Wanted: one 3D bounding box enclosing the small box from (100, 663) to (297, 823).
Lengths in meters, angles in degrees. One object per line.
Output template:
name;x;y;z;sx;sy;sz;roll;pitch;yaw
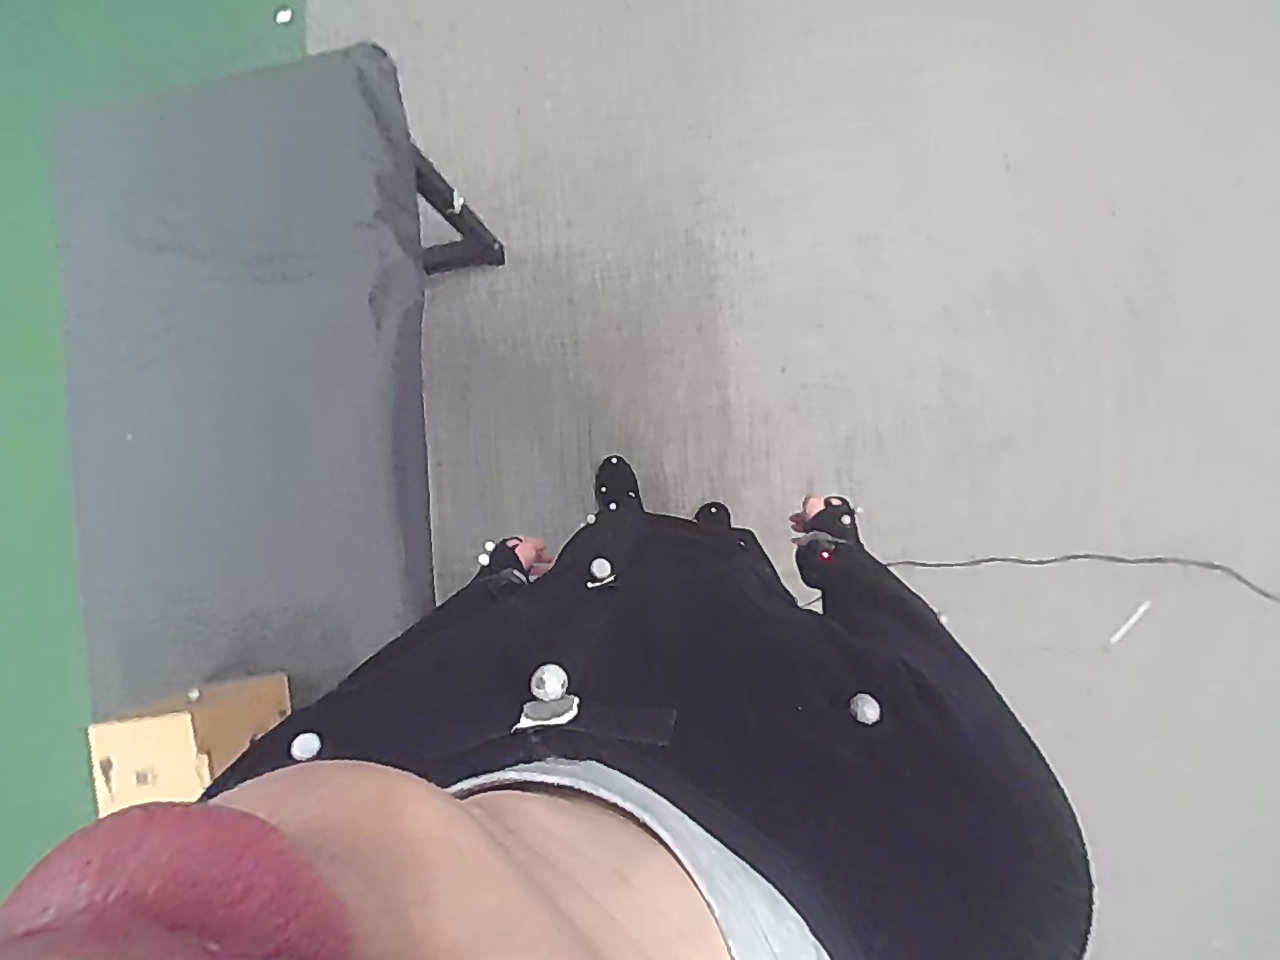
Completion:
small box;-0.672;0.399;0.847;0.179;0.176;0.168;-10;88;7
